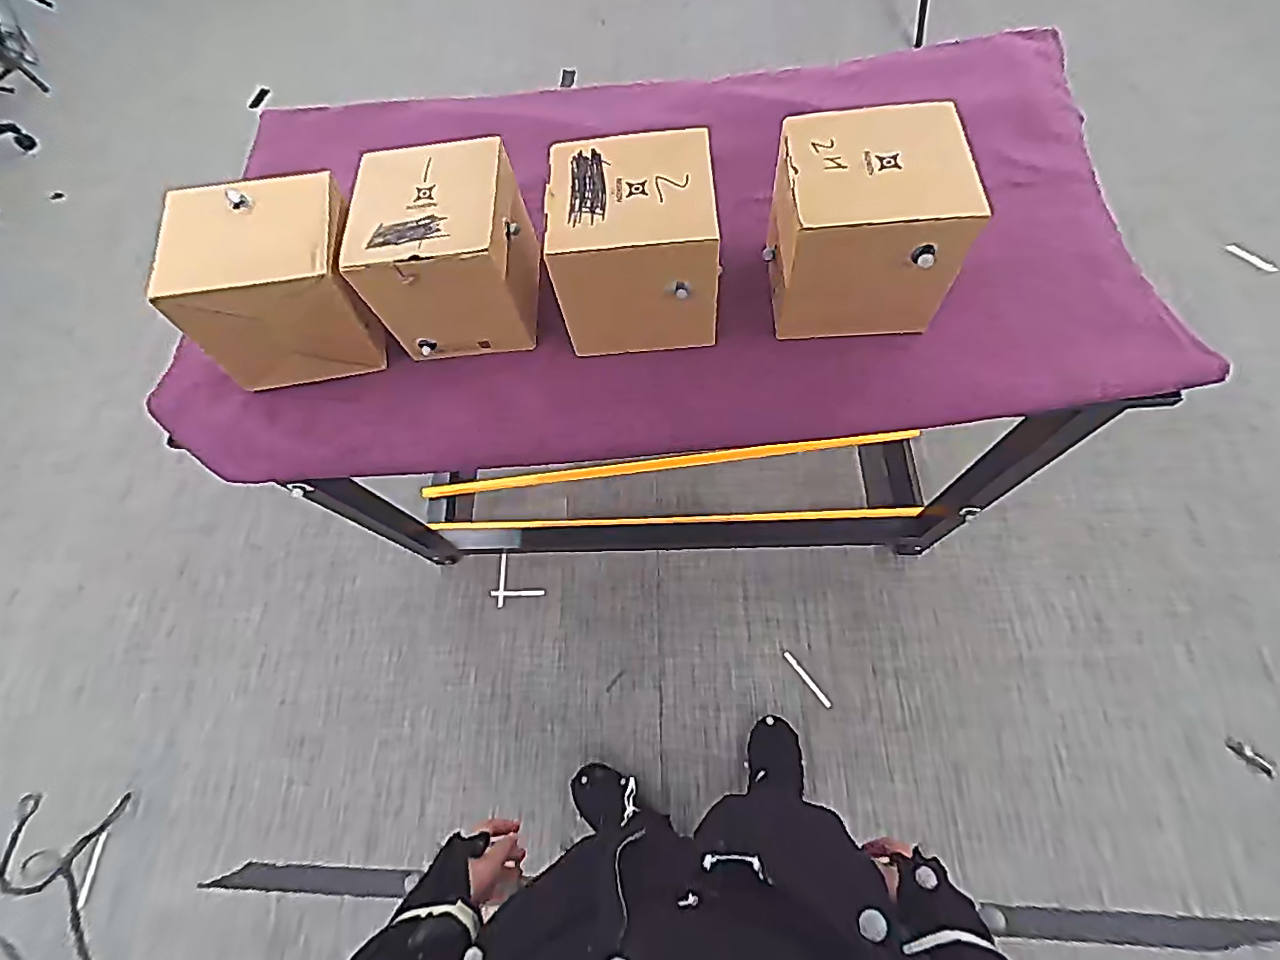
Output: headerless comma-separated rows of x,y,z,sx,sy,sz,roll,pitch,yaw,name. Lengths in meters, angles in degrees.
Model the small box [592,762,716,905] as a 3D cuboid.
0.027,0.664,1.030,0.179,0.176,0.168,-39,66,-15,small box
